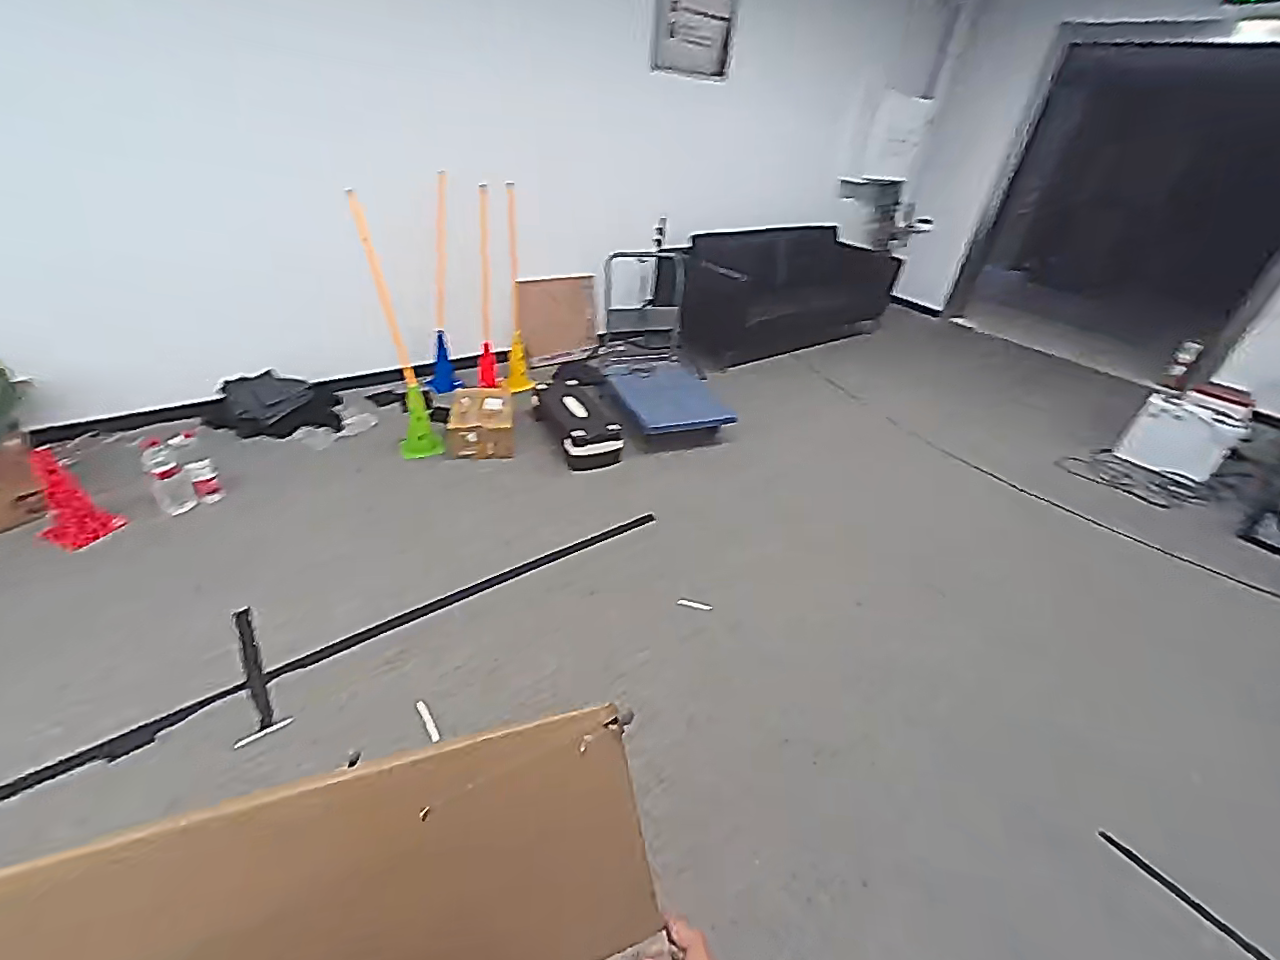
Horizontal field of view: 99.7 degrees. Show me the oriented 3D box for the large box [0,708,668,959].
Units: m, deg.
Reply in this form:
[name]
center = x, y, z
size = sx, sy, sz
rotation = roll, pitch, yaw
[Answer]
[large box]
center = -0.212, 0.402, 0.429
size = 0.408, 0.320, 0.320
rotation = -7, 70, -22
